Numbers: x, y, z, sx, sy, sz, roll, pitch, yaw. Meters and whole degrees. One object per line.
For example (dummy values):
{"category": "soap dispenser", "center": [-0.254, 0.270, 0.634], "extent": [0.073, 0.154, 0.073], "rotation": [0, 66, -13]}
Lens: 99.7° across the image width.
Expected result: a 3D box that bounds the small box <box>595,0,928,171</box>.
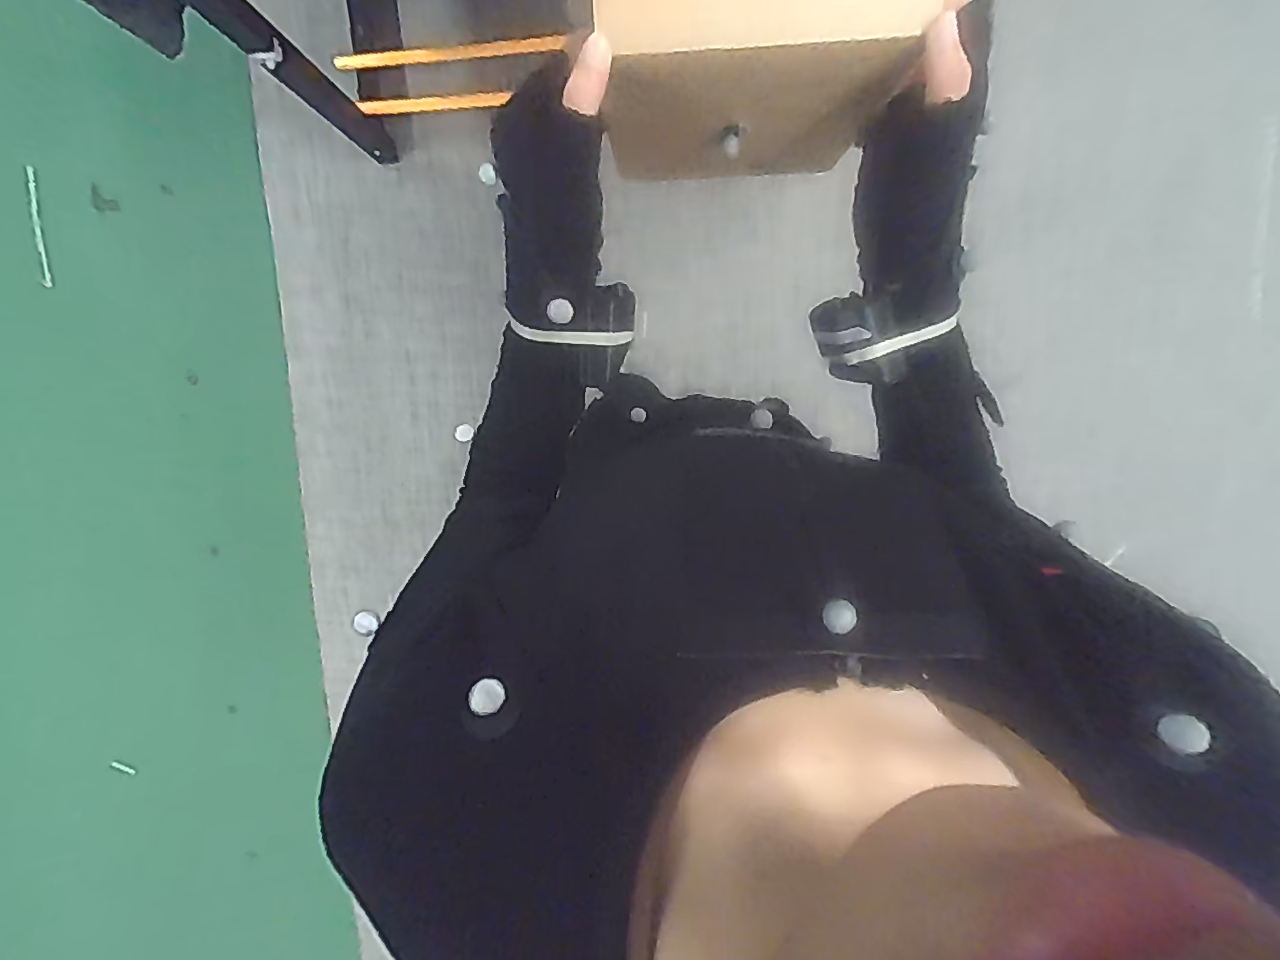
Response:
{"category": "small box", "center": [0.060, -0.311, 0.333], "extent": [0.168, 0.176, 0.179], "rotation": [-2, 99, 2]}
